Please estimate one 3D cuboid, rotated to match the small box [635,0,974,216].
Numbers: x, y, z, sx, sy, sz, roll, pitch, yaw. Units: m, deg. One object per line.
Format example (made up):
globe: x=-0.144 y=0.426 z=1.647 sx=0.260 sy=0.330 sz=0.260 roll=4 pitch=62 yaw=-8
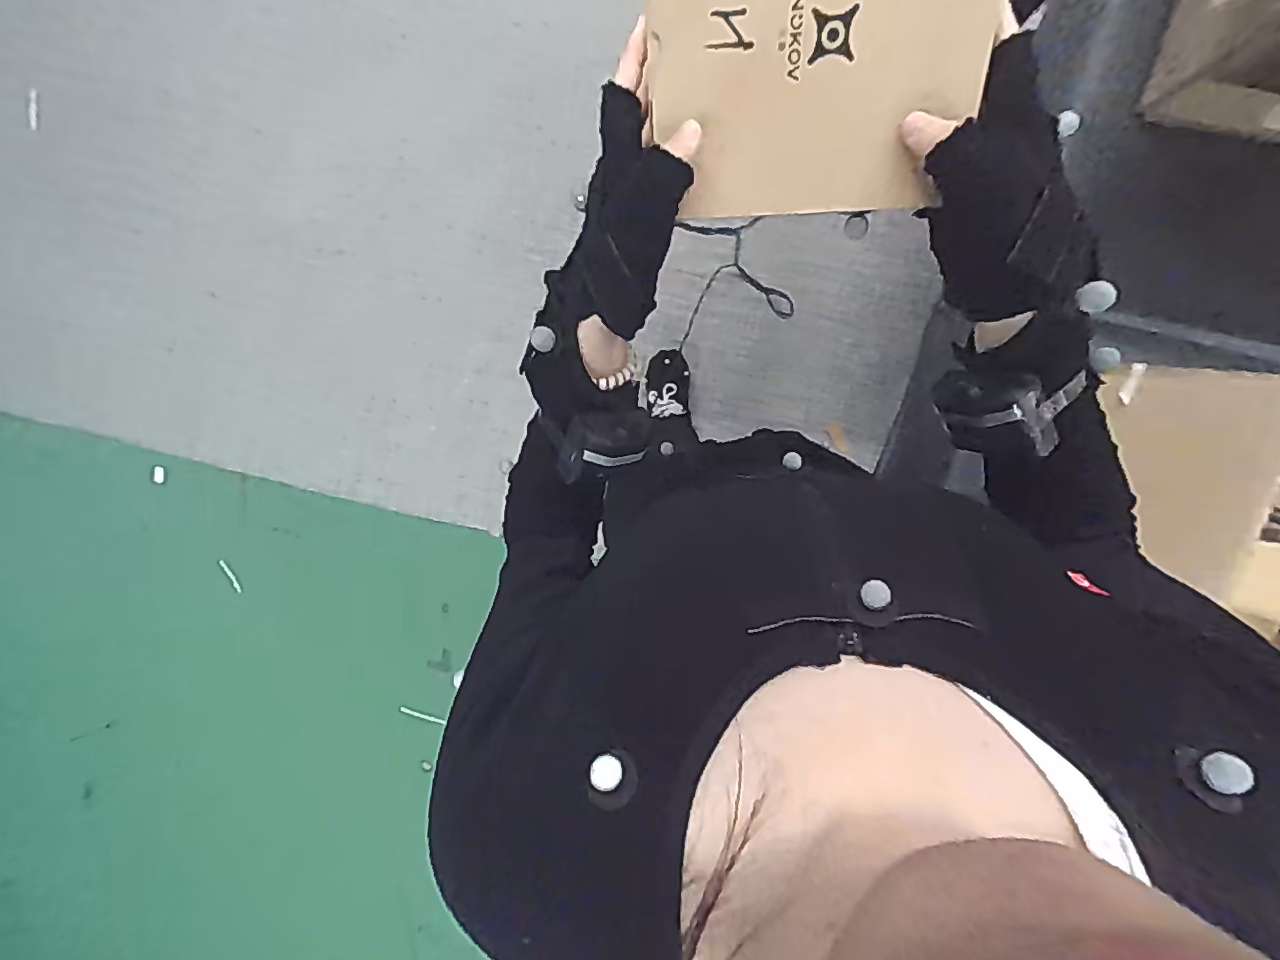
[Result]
small box: x=0.090 y=-0.271 z=0.357 sx=0.179 sy=0.176 sz=0.168 roll=0 pitch=117 yaw=6
